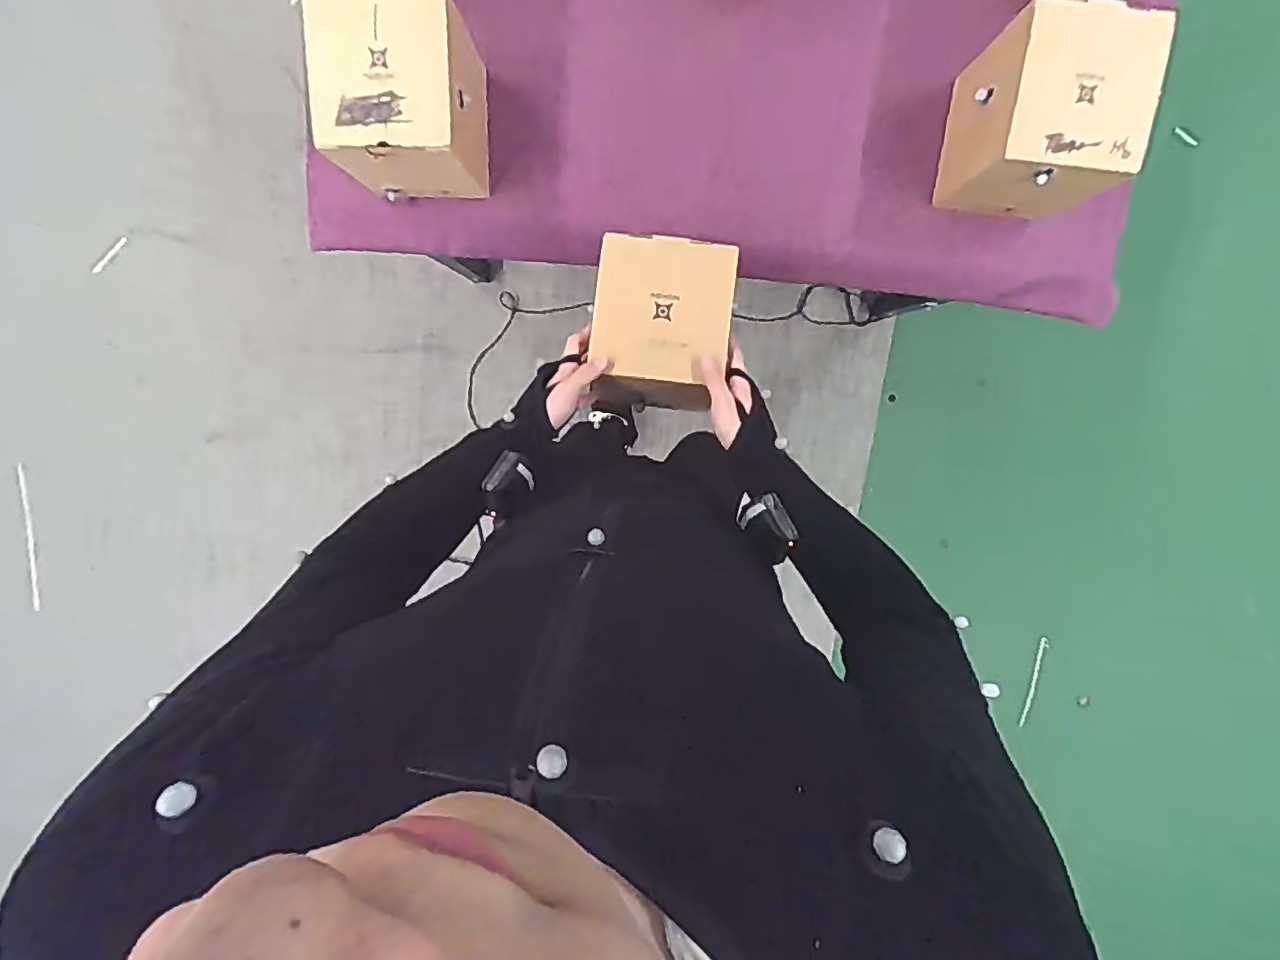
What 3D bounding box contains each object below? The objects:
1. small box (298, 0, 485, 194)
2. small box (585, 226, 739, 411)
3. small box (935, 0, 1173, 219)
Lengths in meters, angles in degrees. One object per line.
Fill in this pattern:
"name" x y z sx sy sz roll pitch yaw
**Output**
"small box" -0.303 -0.486 0.696 0.168 0.176 0.179 1 99 -1
"small box" 0.026 -0.201 0.717 0.168 0.176 0.179 8 87 1
"small box" 0.519 -0.468 0.707 0.168 0.176 0.179 6 99 -1
